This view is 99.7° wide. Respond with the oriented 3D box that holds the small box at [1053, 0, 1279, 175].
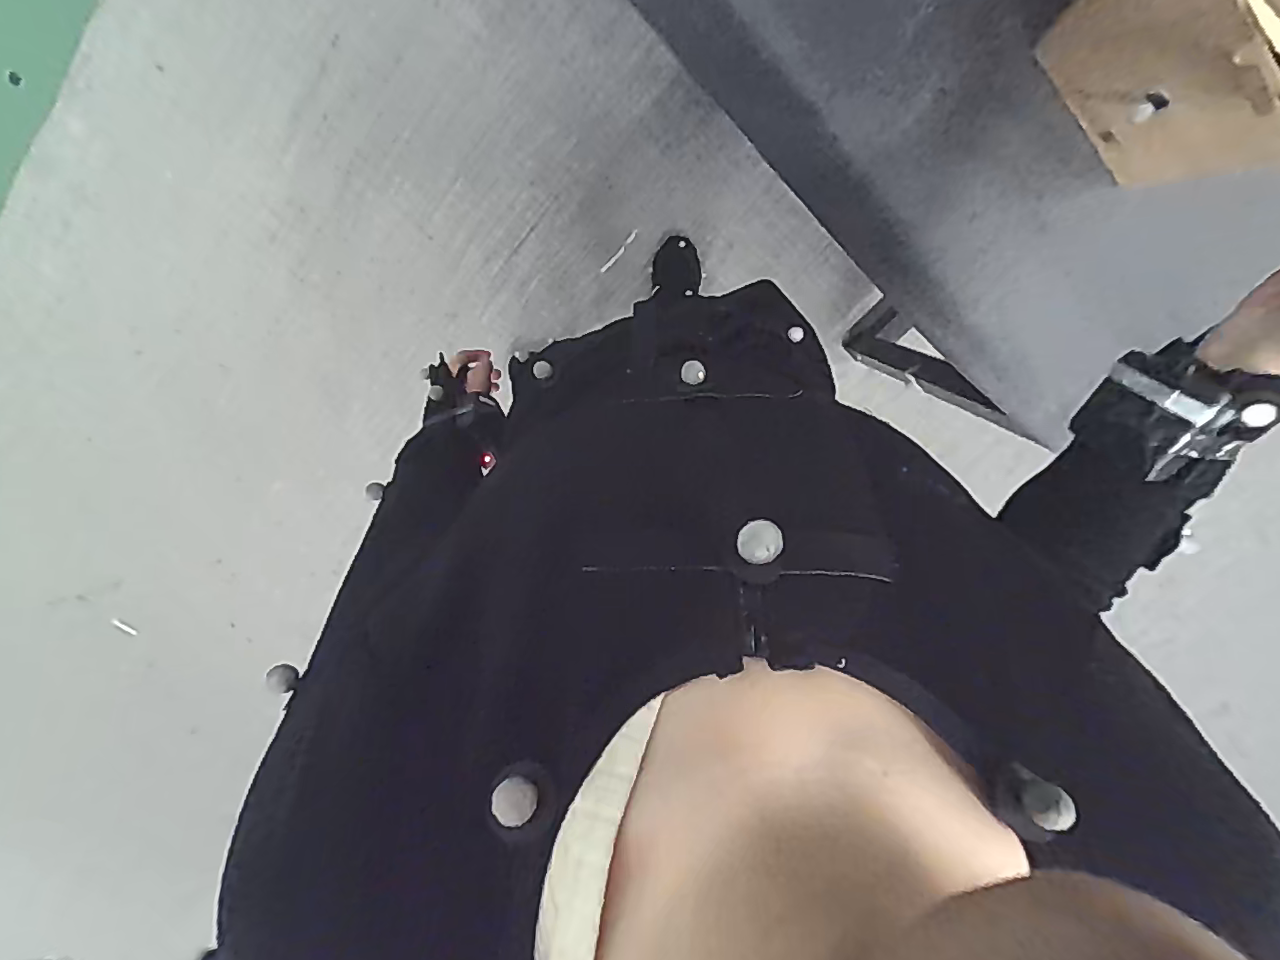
[{"bbox_3d":[0.463,-0.363,0.404,0.168,0.176,0.179,38,107,-16],"label":"small box"}]
